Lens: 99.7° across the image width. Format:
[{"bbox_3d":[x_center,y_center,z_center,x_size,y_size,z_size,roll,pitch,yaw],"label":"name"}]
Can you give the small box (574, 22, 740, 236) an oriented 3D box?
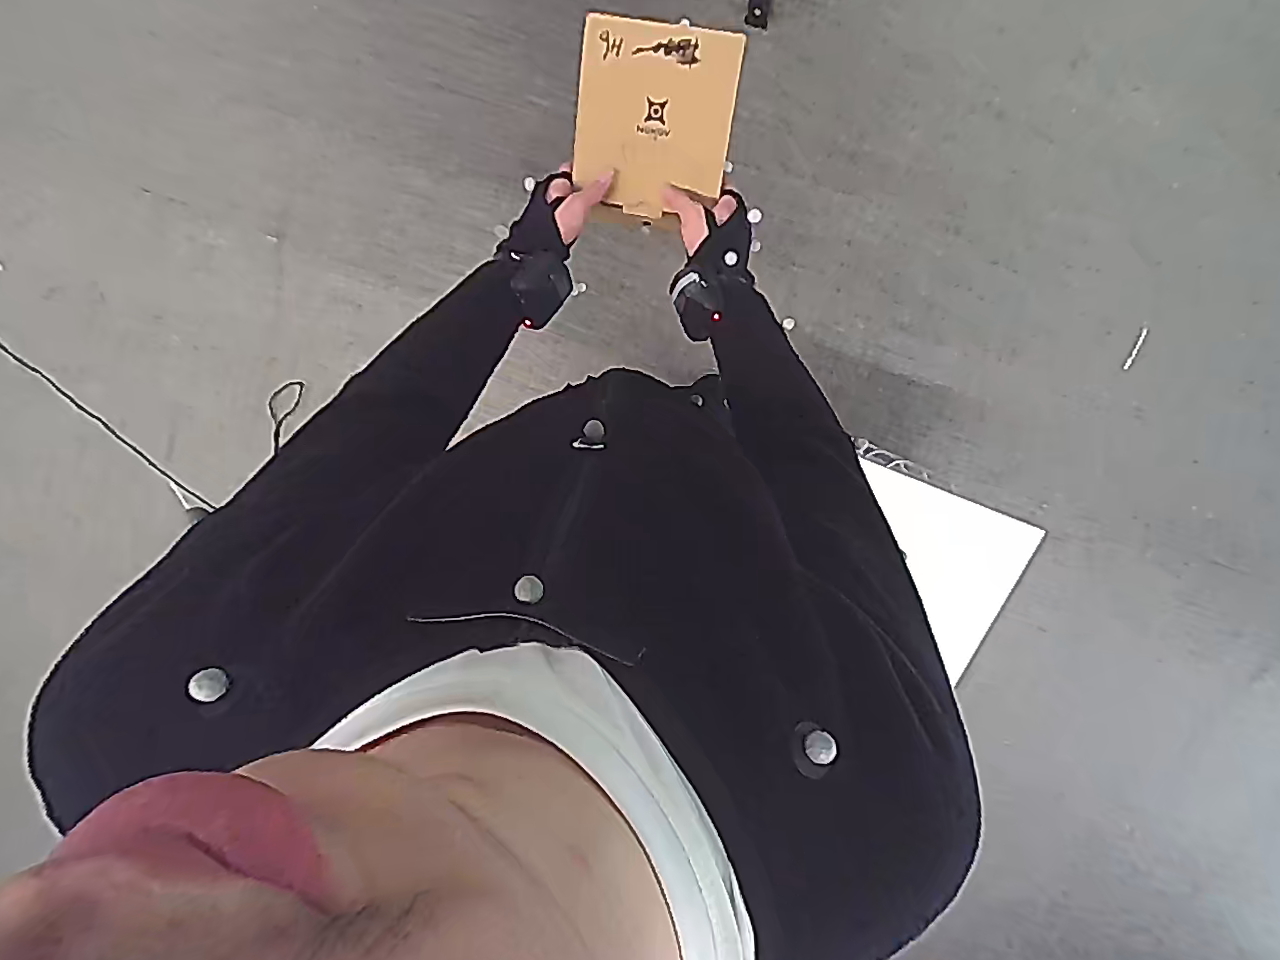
[{"bbox_3d":[0.020,-0.405,0.657,0.168,0.176,0.179,6,107,2],"label":"small box"}]
